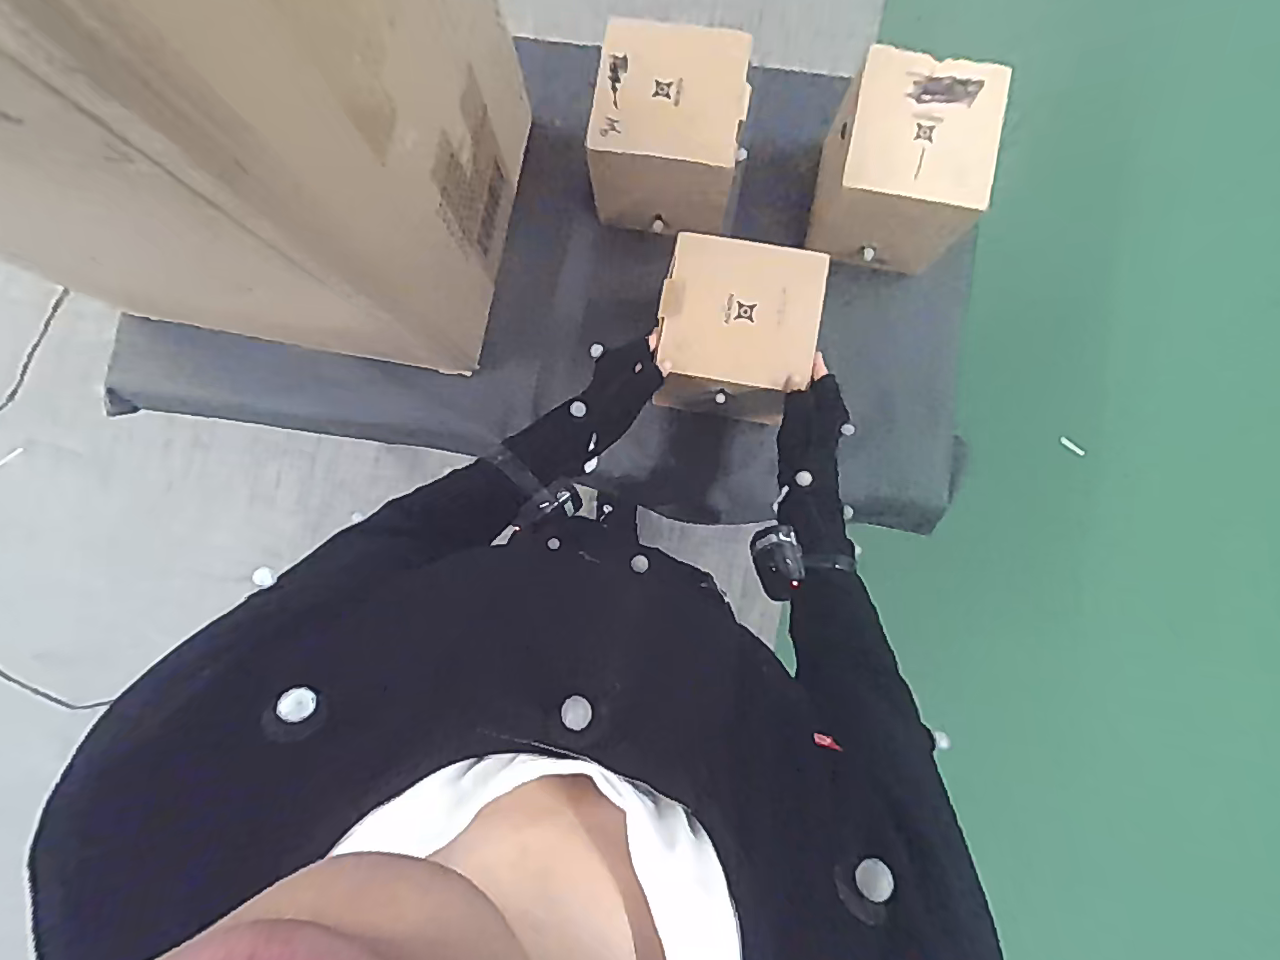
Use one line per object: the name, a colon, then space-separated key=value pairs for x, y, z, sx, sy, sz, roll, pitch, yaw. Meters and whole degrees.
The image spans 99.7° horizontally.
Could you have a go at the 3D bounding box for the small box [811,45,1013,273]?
small box: x=0.334 y=-0.398 z=0.698 sx=0.168 sy=0.176 sz=0.179 roll=12 pitch=87 yaw=3
